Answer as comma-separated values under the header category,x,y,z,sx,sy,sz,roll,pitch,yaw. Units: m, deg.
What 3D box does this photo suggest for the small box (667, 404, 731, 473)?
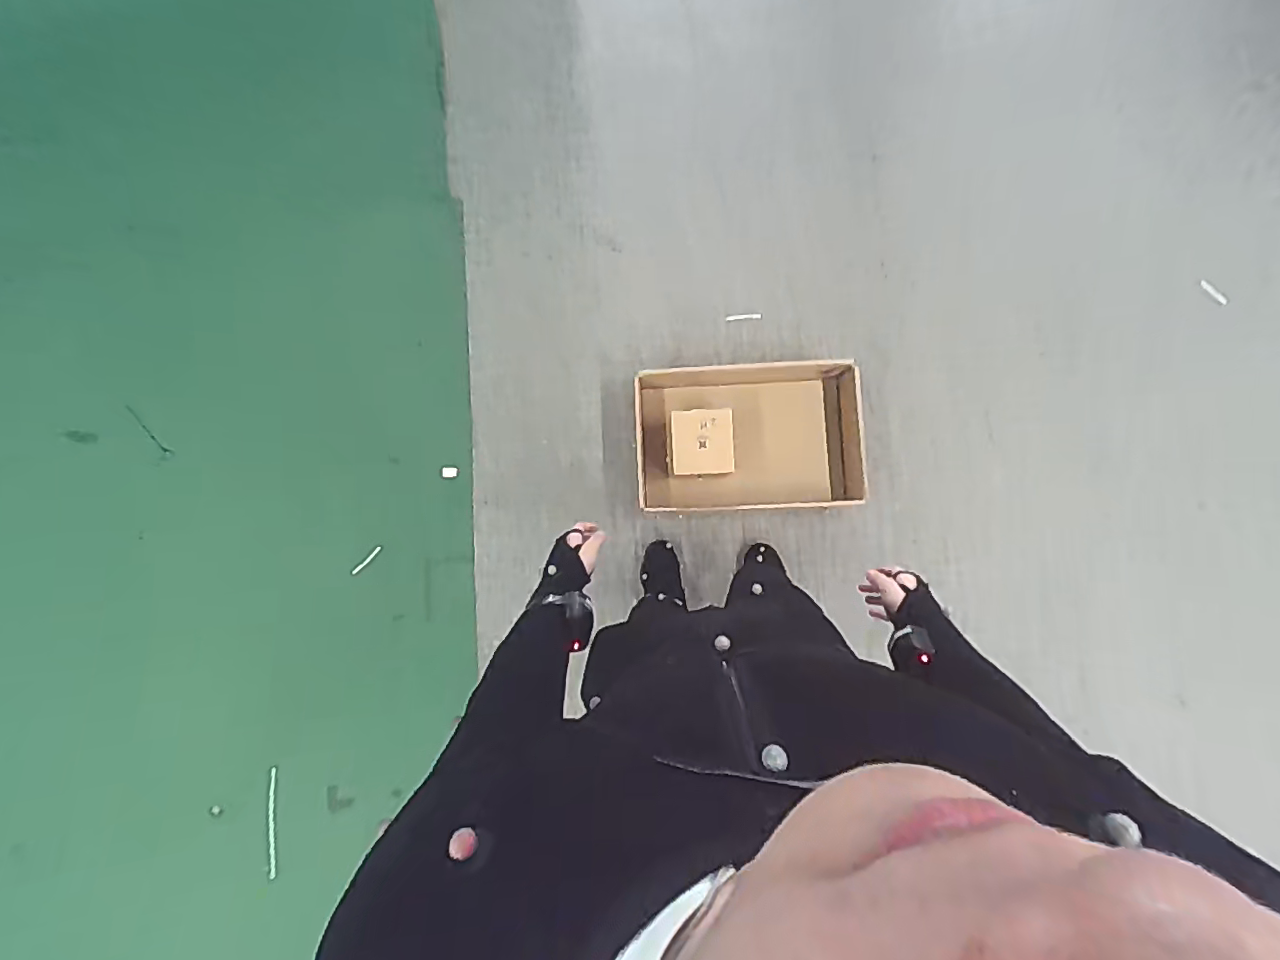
category,x,y,z,sx,sy,sz,roll,pitch,yaw
small box,0.164,-0.112,1.531,0.168,0.176,0.179,-2,85,1
